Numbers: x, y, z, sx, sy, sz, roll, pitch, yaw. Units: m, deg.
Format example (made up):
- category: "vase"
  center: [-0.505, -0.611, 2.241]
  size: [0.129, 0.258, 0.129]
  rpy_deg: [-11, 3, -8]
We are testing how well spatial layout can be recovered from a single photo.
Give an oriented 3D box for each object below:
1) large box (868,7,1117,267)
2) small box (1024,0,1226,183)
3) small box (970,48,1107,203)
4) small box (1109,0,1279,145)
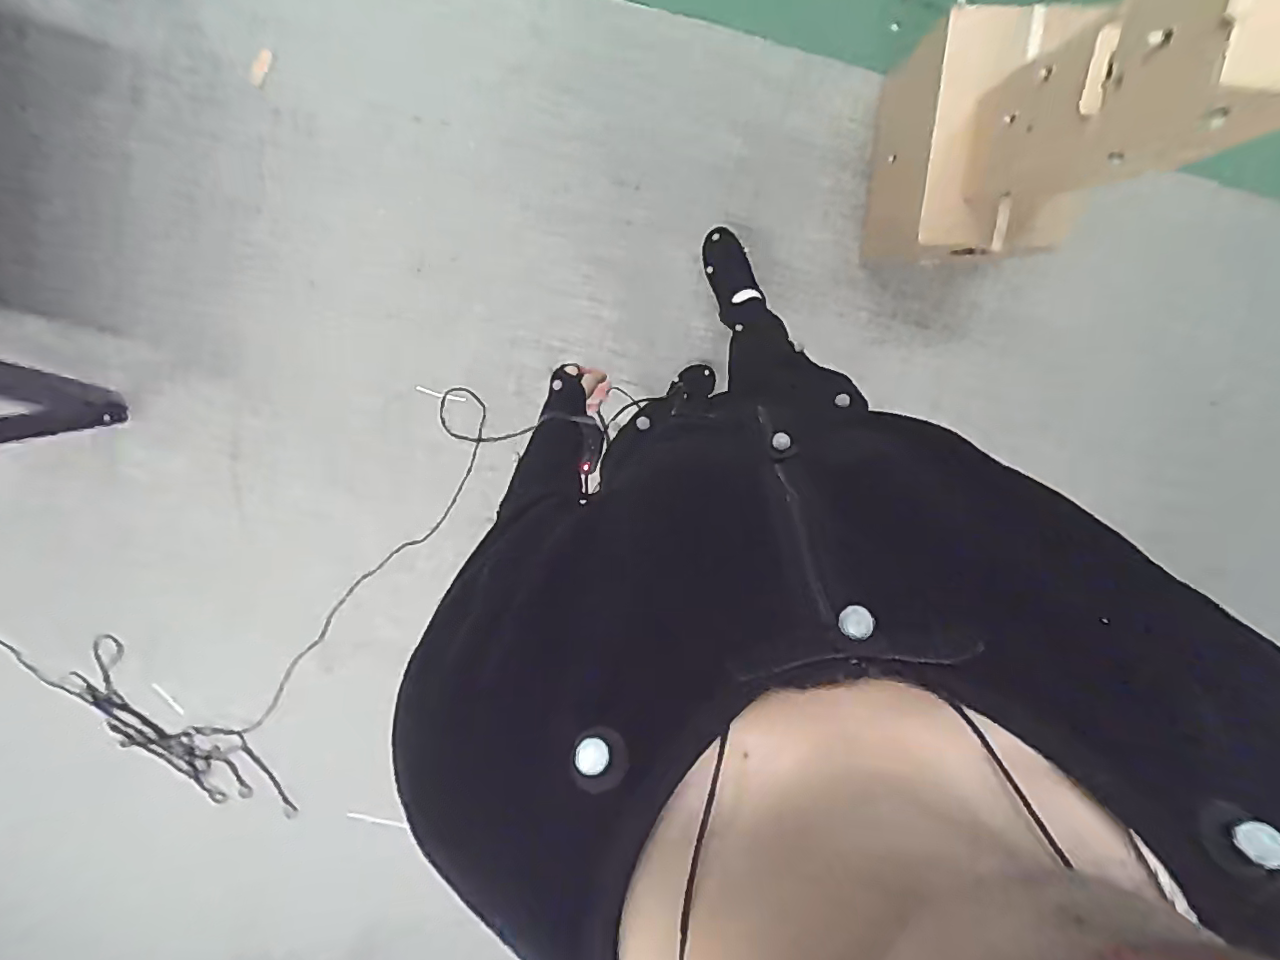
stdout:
- category: "large box"
  center: [0.715, -0.690, 1.162]
  size: [0.320, 0.320, 0.408]
  rpy_deg: [1, 104, 0]
- category: "small box"
  center: [0.706, -0.545, 0.779]
  size: [0.179, 0.176, 0.168]
  rpy_deg: [7, 106, 1]
- category: "small box"
  center: [0.708, -0.599, 0.934]
  size: [0.168, 0.176, 0.179]
  rpy_deg: [5, 106, 2]
- category: "small box"
  center: [0.702, -0.505, 0.619]
  size: [0.179, 0.176, 0.168]
  rpy_deg: [6, 106, 2]
